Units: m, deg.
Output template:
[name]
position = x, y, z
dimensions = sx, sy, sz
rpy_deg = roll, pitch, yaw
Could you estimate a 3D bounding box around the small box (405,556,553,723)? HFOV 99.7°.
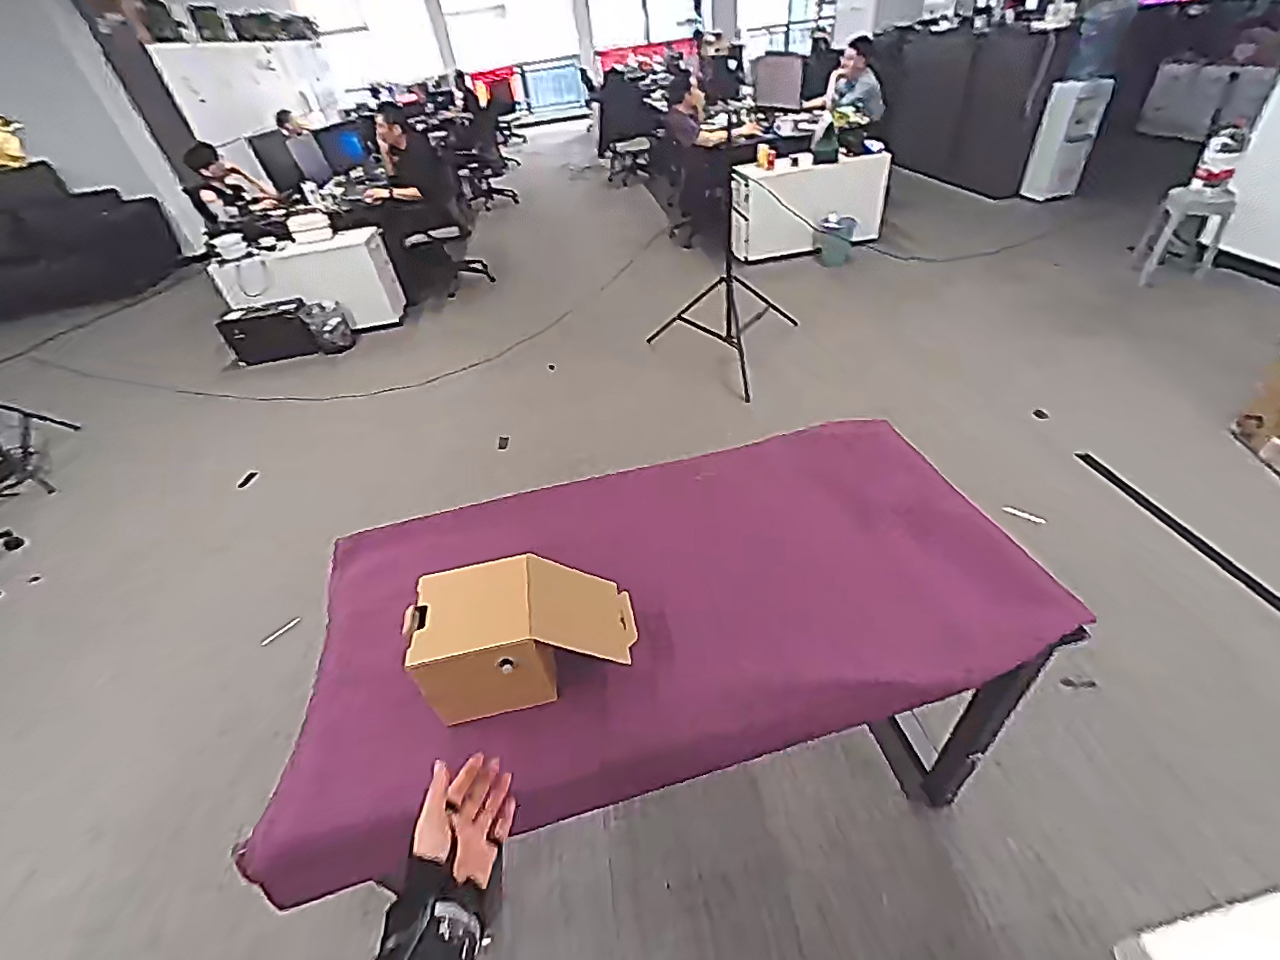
[small box]
position = -0.237, 0.249, 0.845
dimensions = 0.179, 0.176, 0.168
rpy_deg = -12, 39, -4
